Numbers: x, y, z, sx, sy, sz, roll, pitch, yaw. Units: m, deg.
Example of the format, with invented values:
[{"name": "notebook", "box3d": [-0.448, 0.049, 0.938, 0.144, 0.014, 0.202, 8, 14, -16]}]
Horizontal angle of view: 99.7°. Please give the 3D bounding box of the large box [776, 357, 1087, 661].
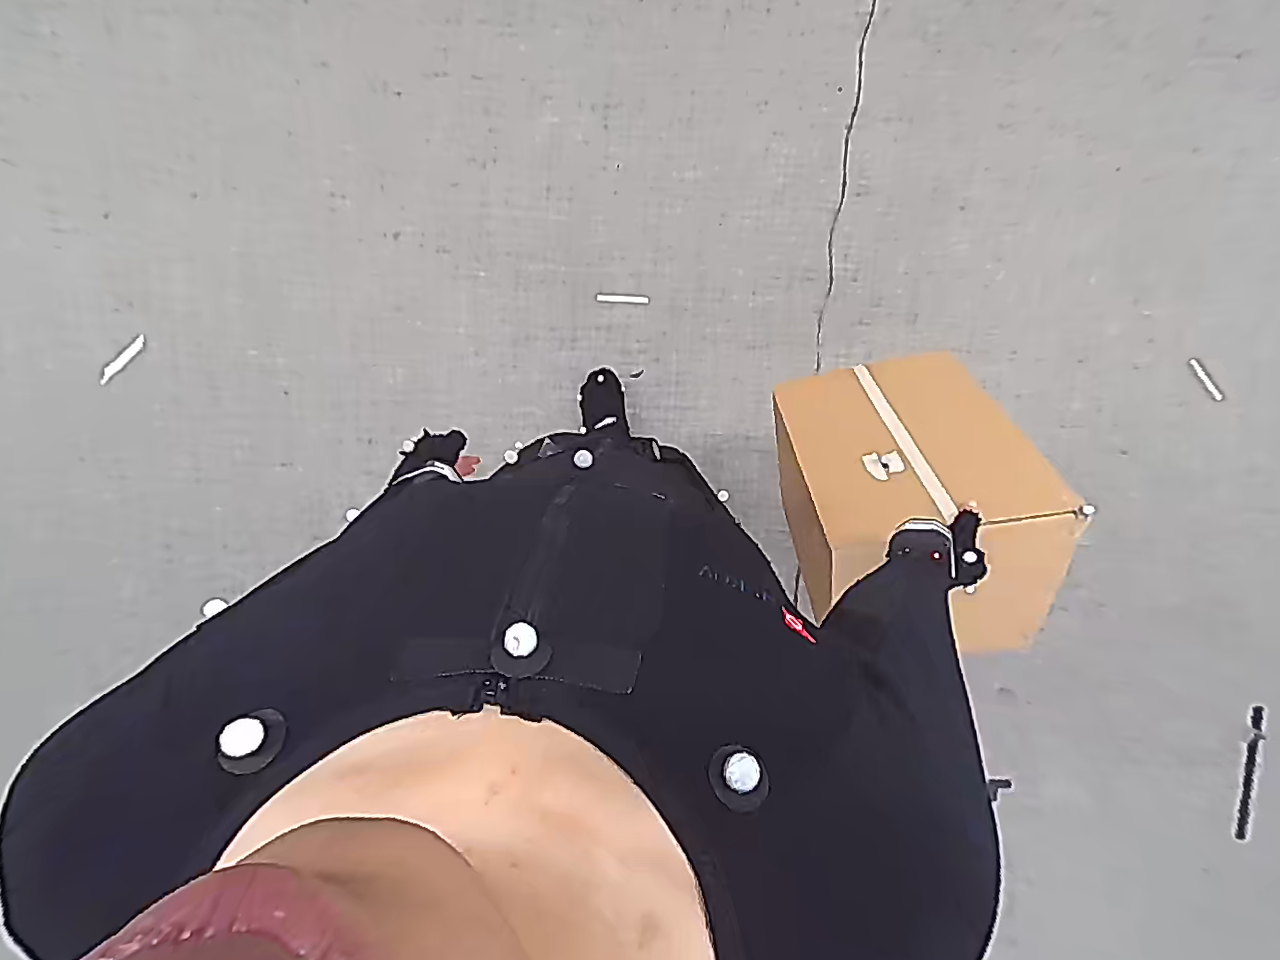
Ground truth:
[{"name": "large box", "box3d": [0.438, 0.042, 0.940, 0.320, 0.408, 0.320, -11, 132, 8]}]
